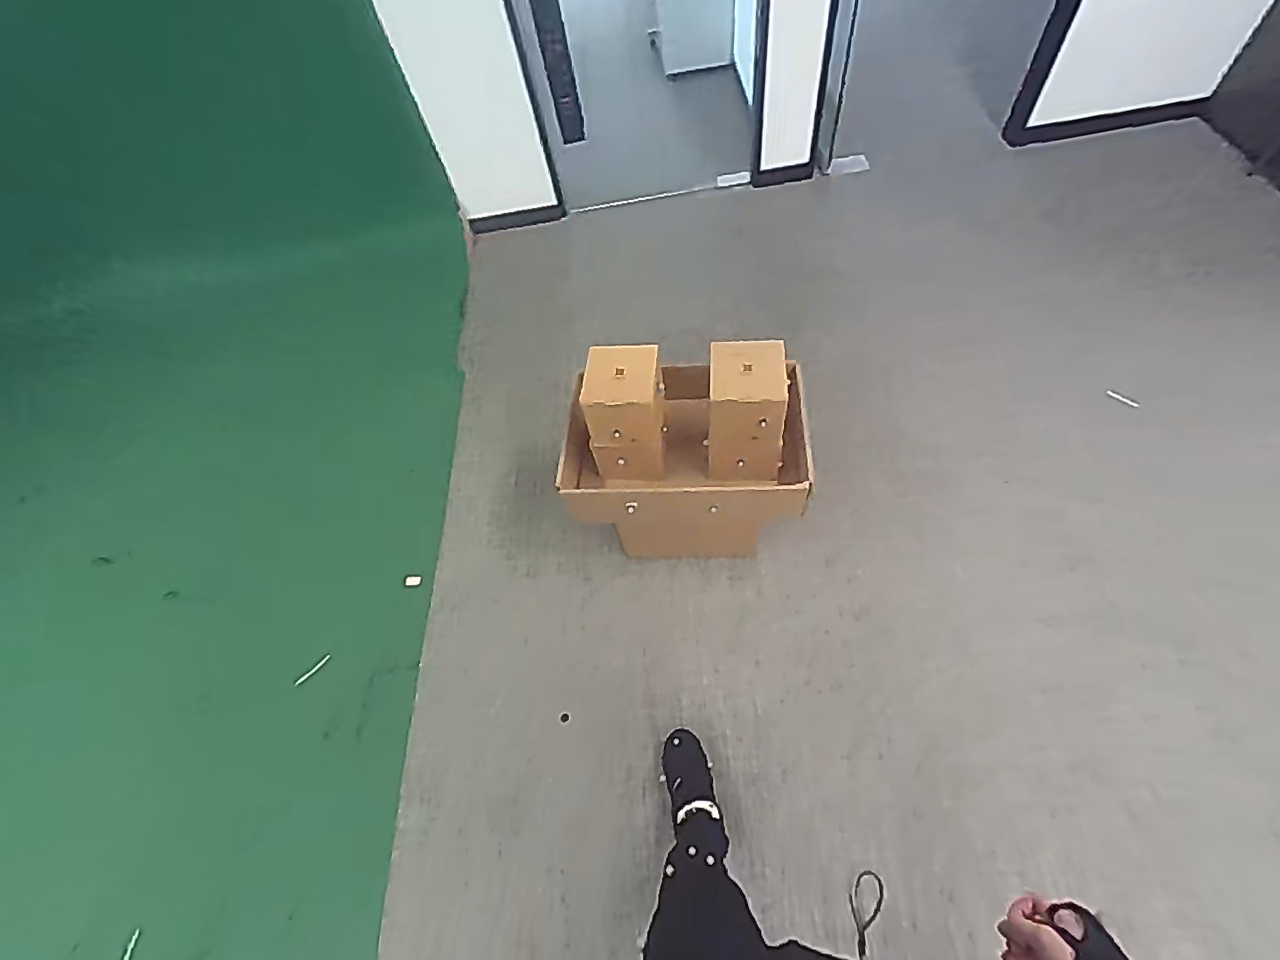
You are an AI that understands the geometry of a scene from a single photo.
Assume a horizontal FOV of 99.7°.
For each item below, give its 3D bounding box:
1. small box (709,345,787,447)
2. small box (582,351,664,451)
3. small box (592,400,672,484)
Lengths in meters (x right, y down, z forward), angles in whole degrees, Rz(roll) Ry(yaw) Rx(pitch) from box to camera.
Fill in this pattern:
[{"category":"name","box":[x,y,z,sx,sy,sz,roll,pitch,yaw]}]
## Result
[{"category":"small box","box":[0.248,-0.191,1.257,0.168,0.176,0.179,1,57,8]},{"category":"small box","box":[-0.033,-0.189,1.305,0.168,0.176,0.179,1,59,9]},{"category":"small box","box":[-0.015,-0.100,1.441,0.179,0.176,0.168,2,59,10]}]
